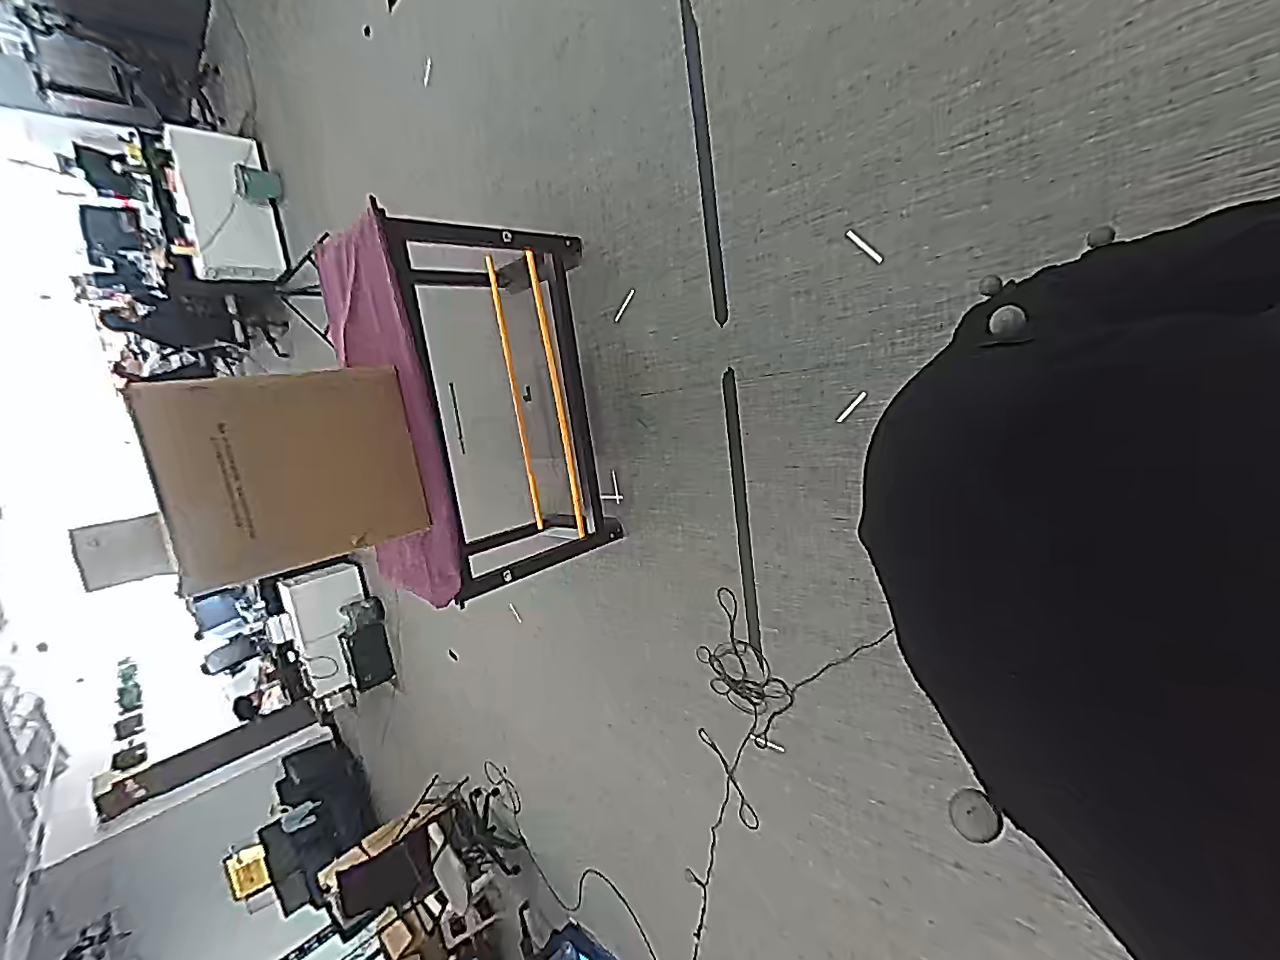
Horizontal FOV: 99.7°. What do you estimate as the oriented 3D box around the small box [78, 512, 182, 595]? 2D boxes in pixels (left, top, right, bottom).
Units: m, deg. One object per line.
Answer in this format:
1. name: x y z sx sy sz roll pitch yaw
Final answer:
1. small box: -1.358 0.187 1.444 0.168 0.176 0.179 -2 100 47
